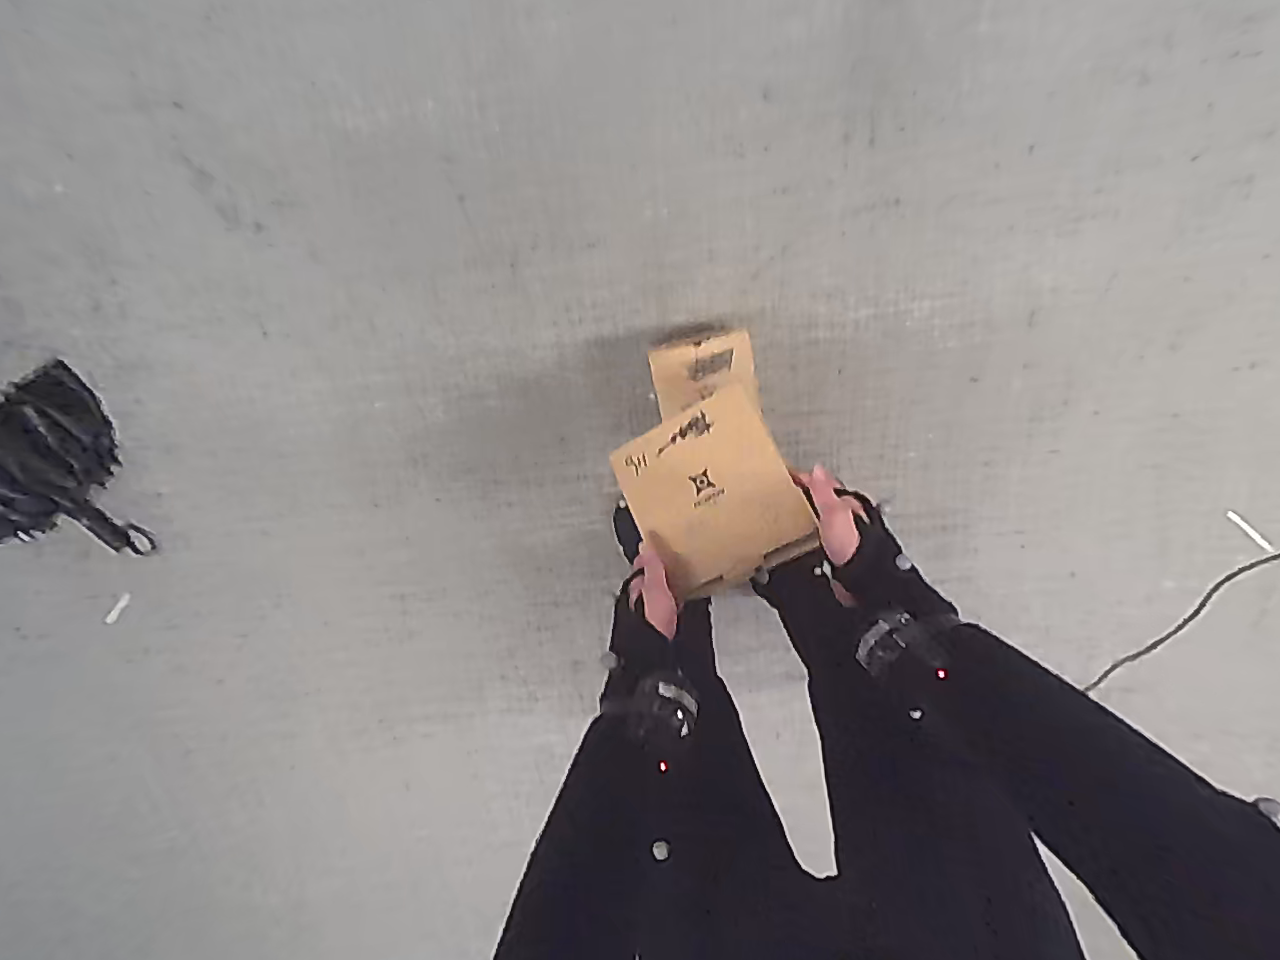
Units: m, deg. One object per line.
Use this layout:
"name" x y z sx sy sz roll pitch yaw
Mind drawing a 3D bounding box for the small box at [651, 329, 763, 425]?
"small box" 0.114 -0.166 0.964 0.168 0.176 0.179 -12 107 5

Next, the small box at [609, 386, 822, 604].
"small box" 0.095 0.023 0.621 0.168 0.176 0.179 -29 73 16
